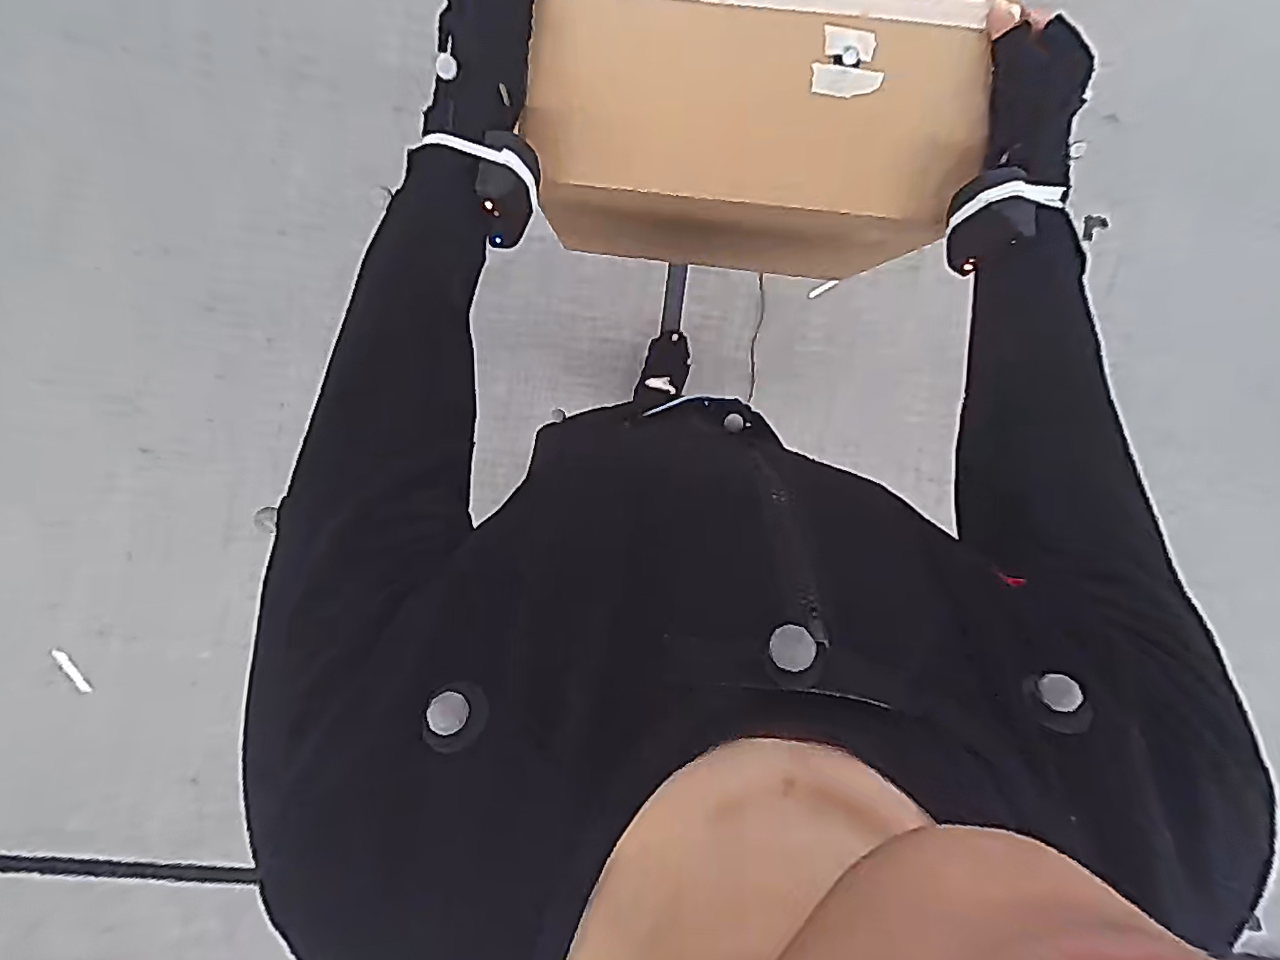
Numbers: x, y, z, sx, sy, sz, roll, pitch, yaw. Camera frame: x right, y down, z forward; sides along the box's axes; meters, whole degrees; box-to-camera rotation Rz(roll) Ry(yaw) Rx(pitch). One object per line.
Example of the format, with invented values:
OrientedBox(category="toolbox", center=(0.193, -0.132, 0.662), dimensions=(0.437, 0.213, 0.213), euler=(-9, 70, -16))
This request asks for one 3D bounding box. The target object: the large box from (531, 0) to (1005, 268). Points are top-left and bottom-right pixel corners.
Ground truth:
OrientedBox(category="large box", center=(0.107, -0.439, 0.600), dimensions=(0.408, 0.320, 0.320), euler=(5, 102, -2))
